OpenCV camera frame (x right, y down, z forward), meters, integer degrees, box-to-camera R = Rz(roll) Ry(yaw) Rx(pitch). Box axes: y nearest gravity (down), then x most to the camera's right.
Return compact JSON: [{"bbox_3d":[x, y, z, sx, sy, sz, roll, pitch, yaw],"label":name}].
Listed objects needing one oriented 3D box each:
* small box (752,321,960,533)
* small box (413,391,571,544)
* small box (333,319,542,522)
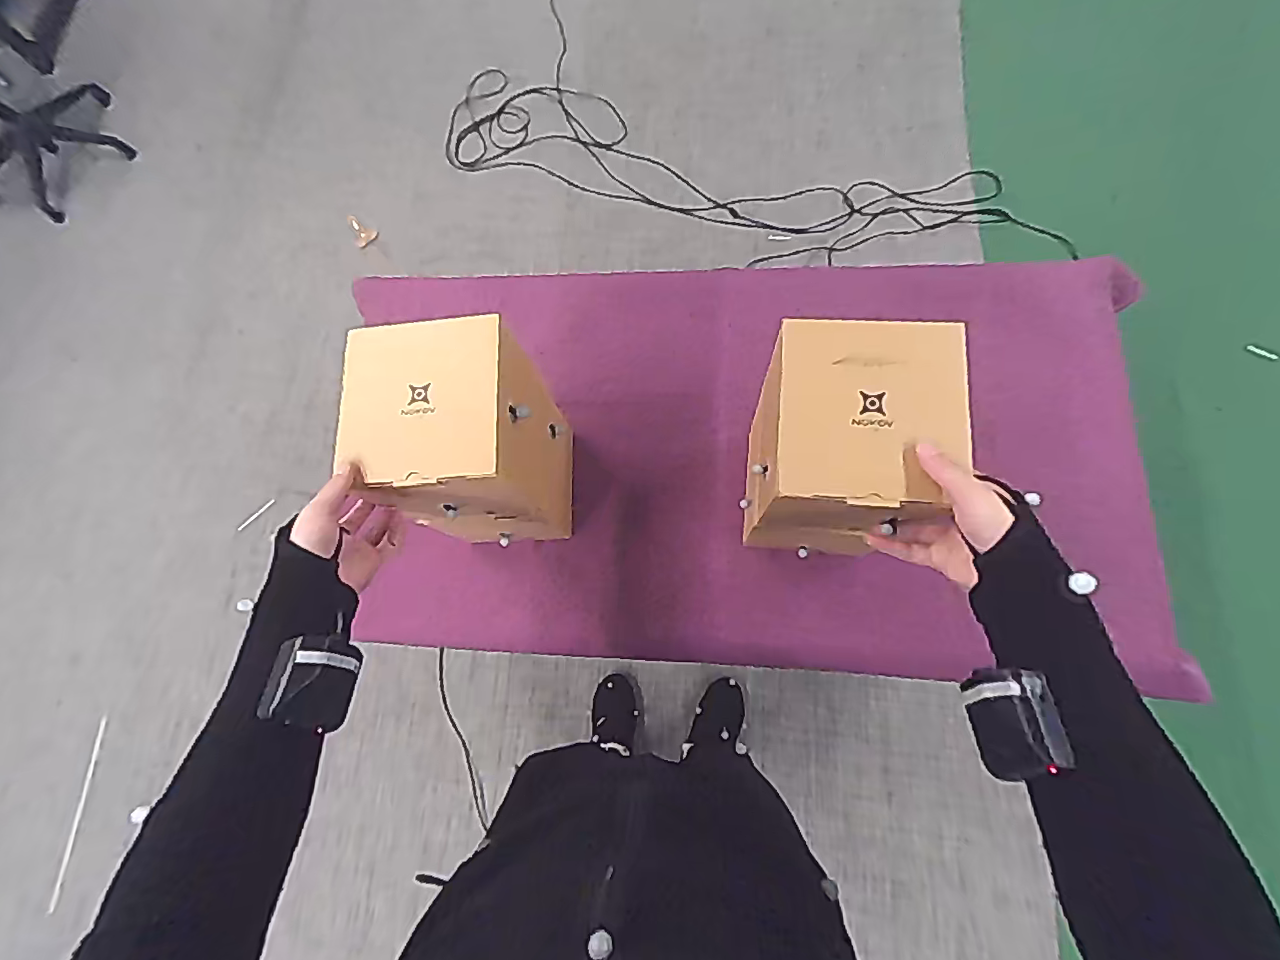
[{"bbox_3d":[0.209,-0.044,0.565,0.168,0.176,0.179,4,75,7],"label":"small box"},{"bbox_3d":[-0.199,-0.010,0.776,0.168,0.176,0.179,-3,74,6],"label":"small box"},{"bbox_3d":[-0.215,-0.058,0.621,0.168,0.176,0.179,-5,74,5],"label":"small box"}]
